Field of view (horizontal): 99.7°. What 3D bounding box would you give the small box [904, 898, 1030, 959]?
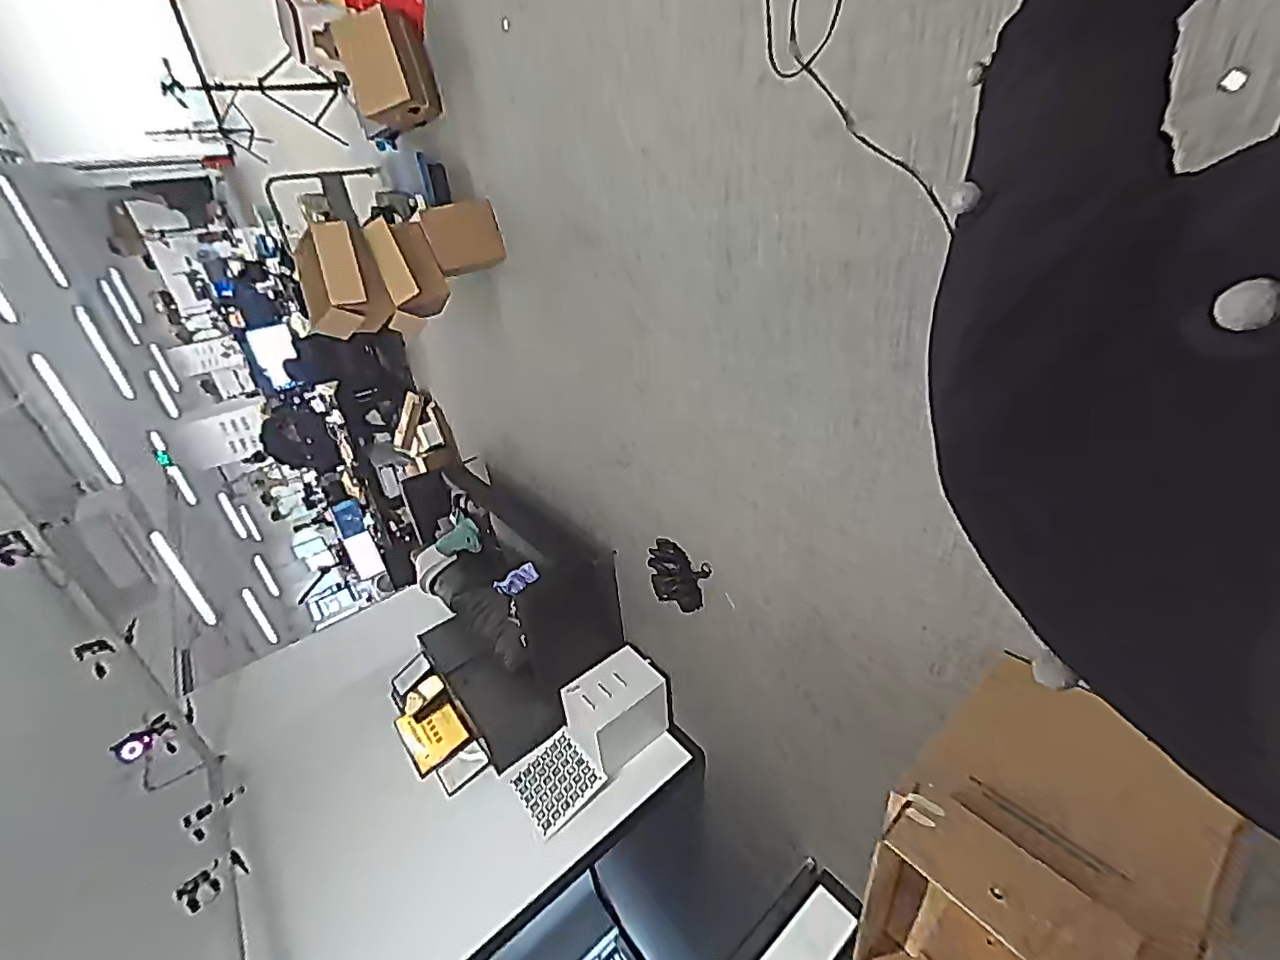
[{"bbox_3d":[0.672,1.021,1.120,0.179,0.176,0.168,28,136,47],"label":"small box"}]
